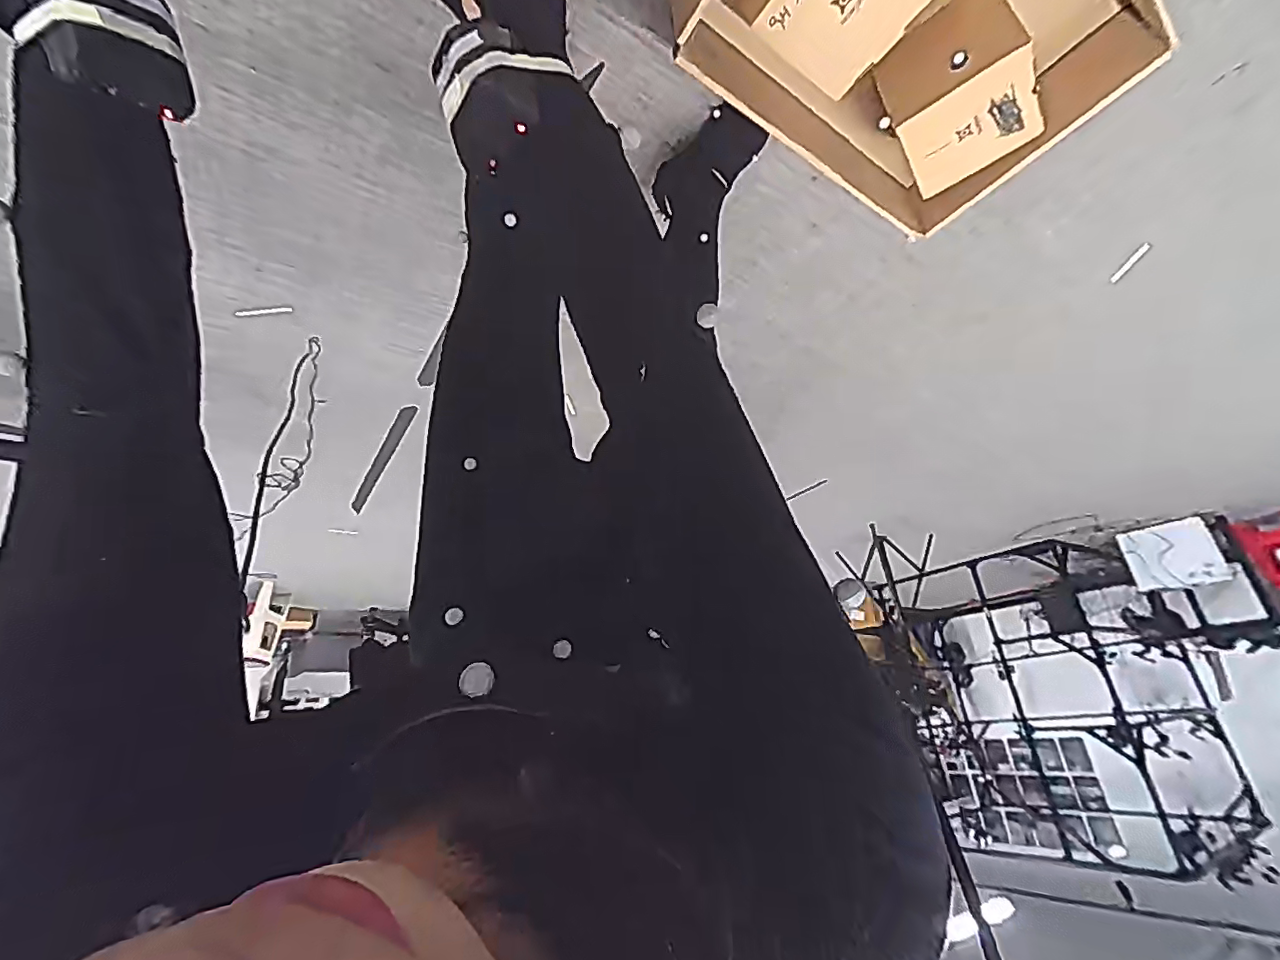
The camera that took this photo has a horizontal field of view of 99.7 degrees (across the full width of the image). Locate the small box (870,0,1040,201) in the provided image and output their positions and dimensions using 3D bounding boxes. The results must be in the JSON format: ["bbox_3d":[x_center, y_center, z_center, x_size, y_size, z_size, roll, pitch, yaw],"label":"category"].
[{"bbox_3d":[0.487,-0.595,0.844,0.179,0.176,0.168,-21,150,33],"label":"small box"}]

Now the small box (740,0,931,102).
[{"bbox_3d":[0.239,-0.645,0.685,0.179,0.176,0.168,11,150,-34],"label":"small box"}]
